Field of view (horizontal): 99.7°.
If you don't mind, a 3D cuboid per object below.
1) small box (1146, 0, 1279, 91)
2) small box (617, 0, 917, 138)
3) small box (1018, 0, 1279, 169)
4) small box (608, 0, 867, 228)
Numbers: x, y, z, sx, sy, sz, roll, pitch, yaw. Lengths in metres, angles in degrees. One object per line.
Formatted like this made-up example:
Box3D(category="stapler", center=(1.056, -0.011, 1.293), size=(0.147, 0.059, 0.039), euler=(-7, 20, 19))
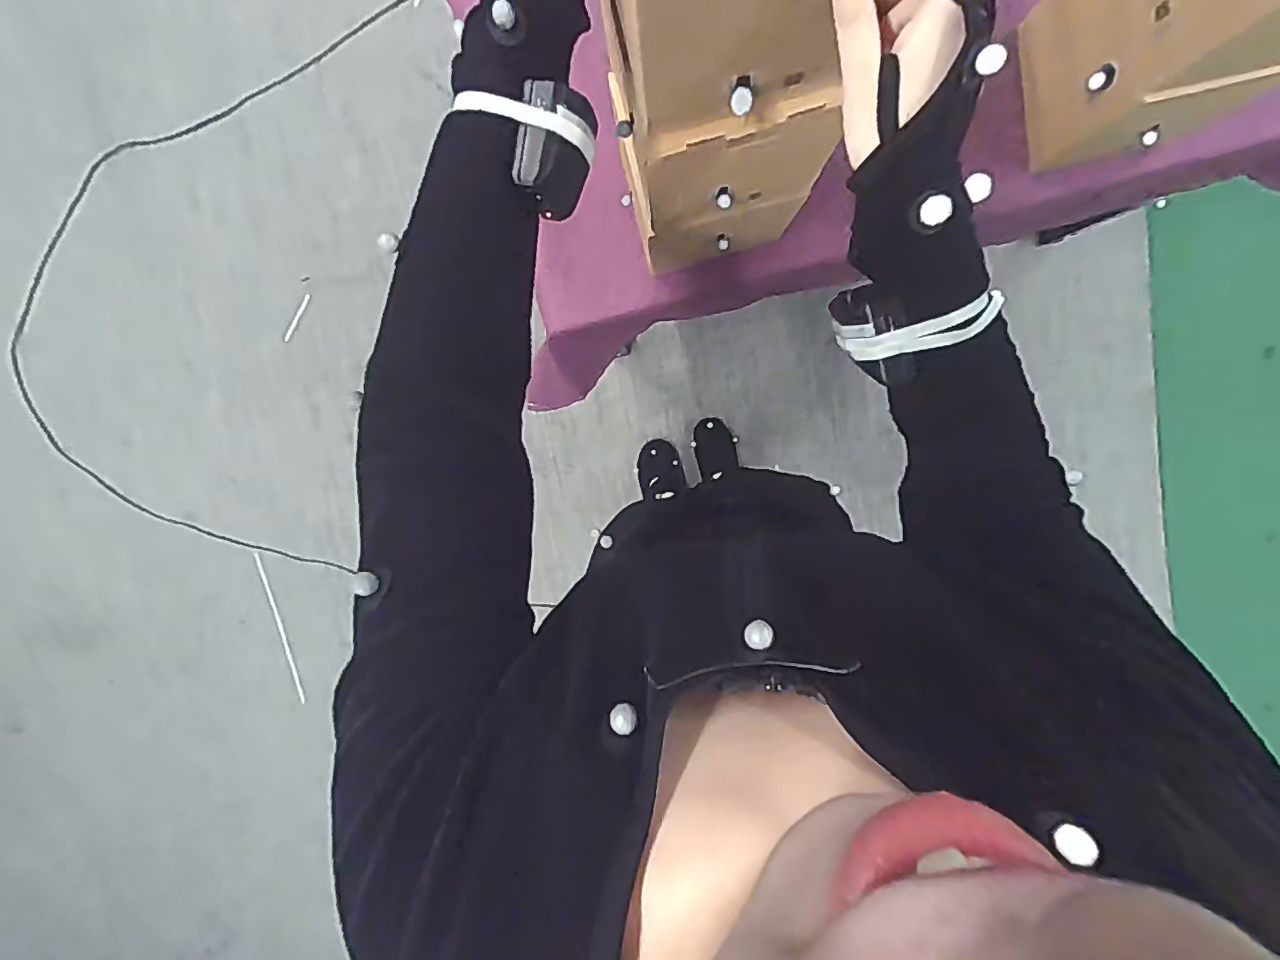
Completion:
Box3D(category="small box", center=(0.555, -0.451, 0.429), size=(0.179, 0.176, 0.168), euler=(-10, 98, 3))
Box3D(category="small box", center=(0.061, -0.337, 0.303), size=(0.168, 0.176, 0.179), euler=(-13, 98, 5))
Box3D(category="small box", center=(0.554, -0.470, 0.593), size=(0.168, 0.176, 0.179), euler=(-11, 97, 3))
Box3D(category="small box", center=(0.069, -0.348, 0.465), size=(0.168, 0.176, 0.179), euler=(-14, 98, 4))
